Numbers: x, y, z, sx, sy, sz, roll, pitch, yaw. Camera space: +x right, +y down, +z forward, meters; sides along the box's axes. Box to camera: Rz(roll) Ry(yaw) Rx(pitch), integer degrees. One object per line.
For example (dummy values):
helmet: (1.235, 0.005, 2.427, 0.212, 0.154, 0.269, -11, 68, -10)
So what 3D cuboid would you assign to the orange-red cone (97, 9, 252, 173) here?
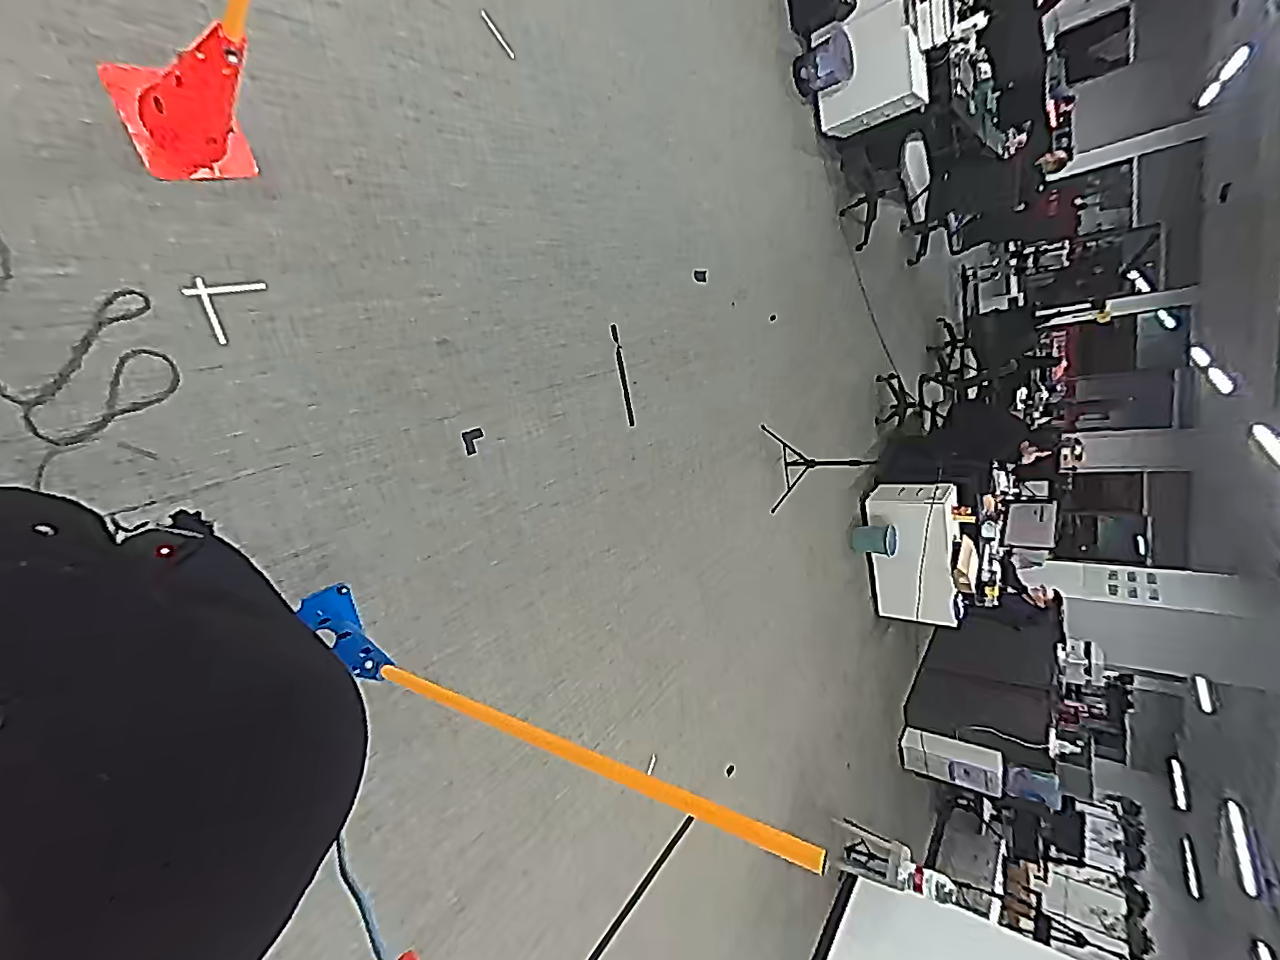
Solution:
orange-red cone: (-0.791, -0.723, 0.972, 0.199, 0.360, 0.198, -33, 114, -44)

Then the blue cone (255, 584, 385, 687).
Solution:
blue cone: (-0.647, 0.362, 1.161, 0.193, 0.380, 0.192, -24, 107, -48)
